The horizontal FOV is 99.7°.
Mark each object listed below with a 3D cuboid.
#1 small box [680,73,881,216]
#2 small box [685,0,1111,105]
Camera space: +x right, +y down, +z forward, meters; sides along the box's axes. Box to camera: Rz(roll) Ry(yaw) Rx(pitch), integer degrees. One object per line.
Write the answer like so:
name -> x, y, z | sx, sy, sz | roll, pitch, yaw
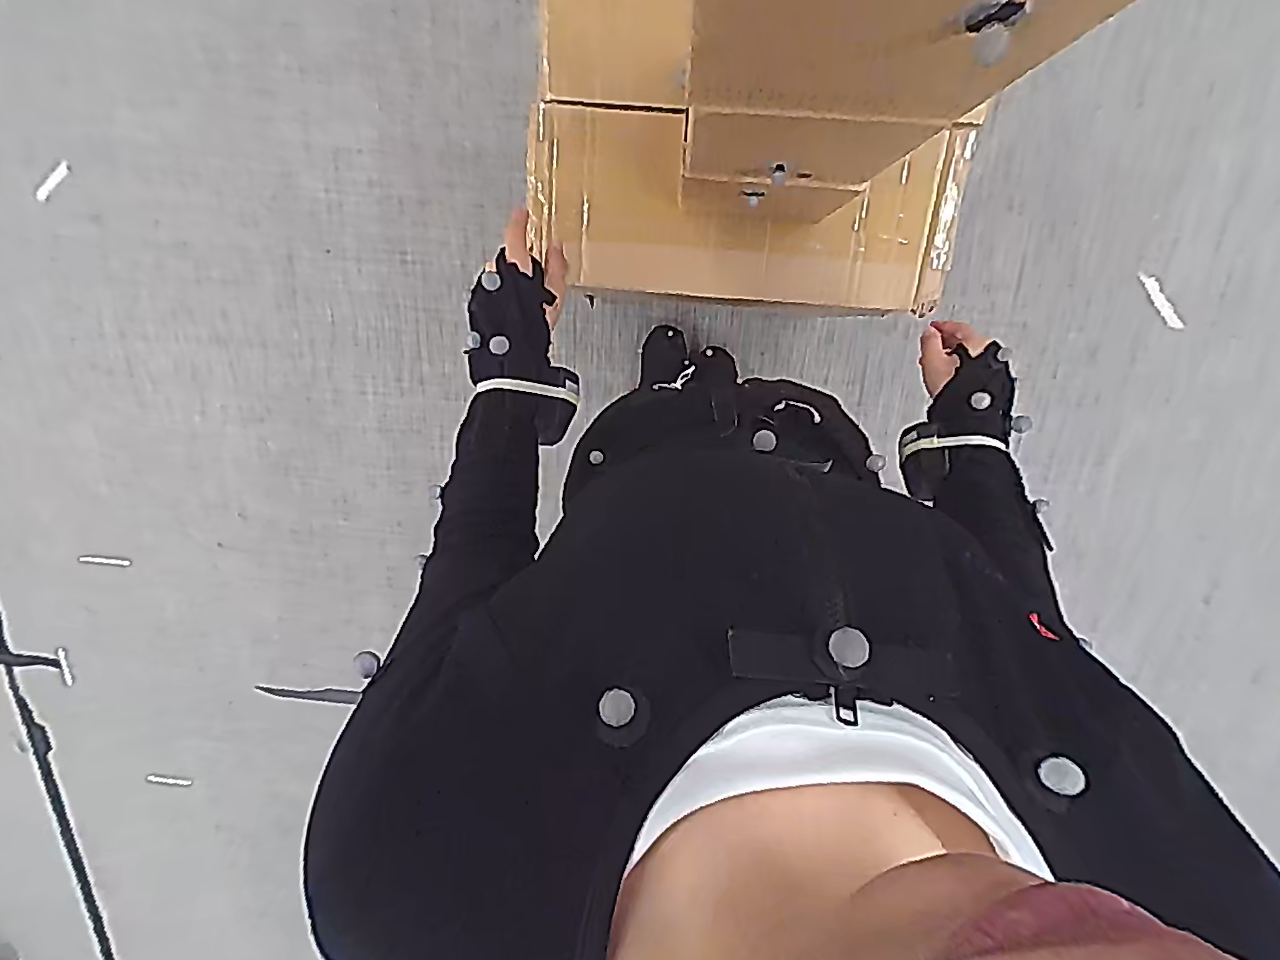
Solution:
small box -> 0.136, -0.379, 0.556 | 0.179, 0.176, 0.168 | 5, 107, 2
small box -> 0.116, -0.292, 0.239 | 0.179, 0.176, 0.168 | 6, 107, 2
